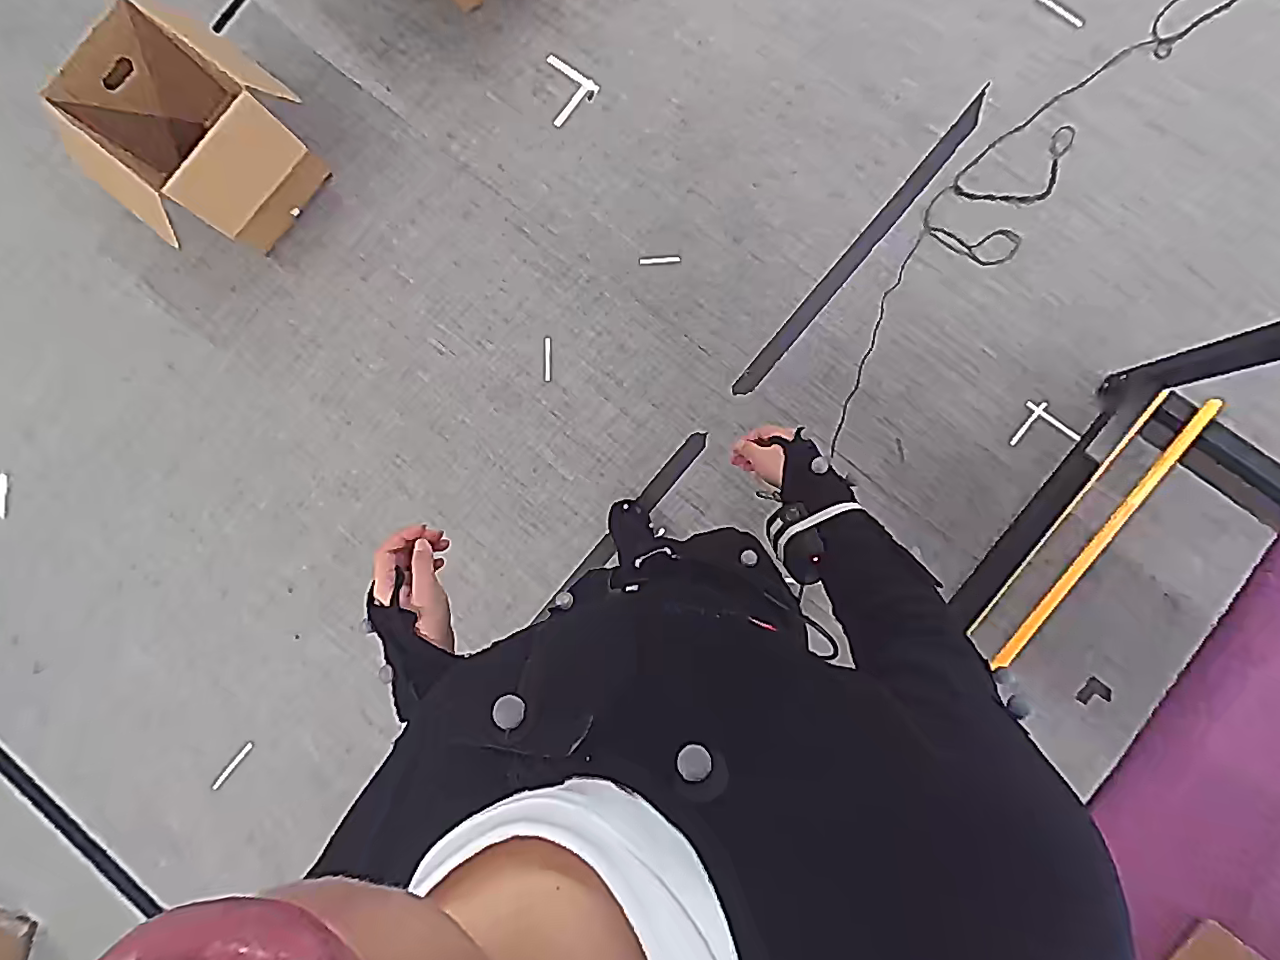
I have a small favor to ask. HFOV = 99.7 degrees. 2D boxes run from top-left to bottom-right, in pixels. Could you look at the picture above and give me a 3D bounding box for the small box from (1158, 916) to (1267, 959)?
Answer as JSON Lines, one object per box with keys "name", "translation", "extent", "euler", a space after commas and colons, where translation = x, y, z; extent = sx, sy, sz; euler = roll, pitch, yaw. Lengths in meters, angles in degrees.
{"name": "small box", "translation": [0.623, 0.592, 0.518], "extent": [0.168, 0.176, 0.179], "euler": [41, 89, 3]}
